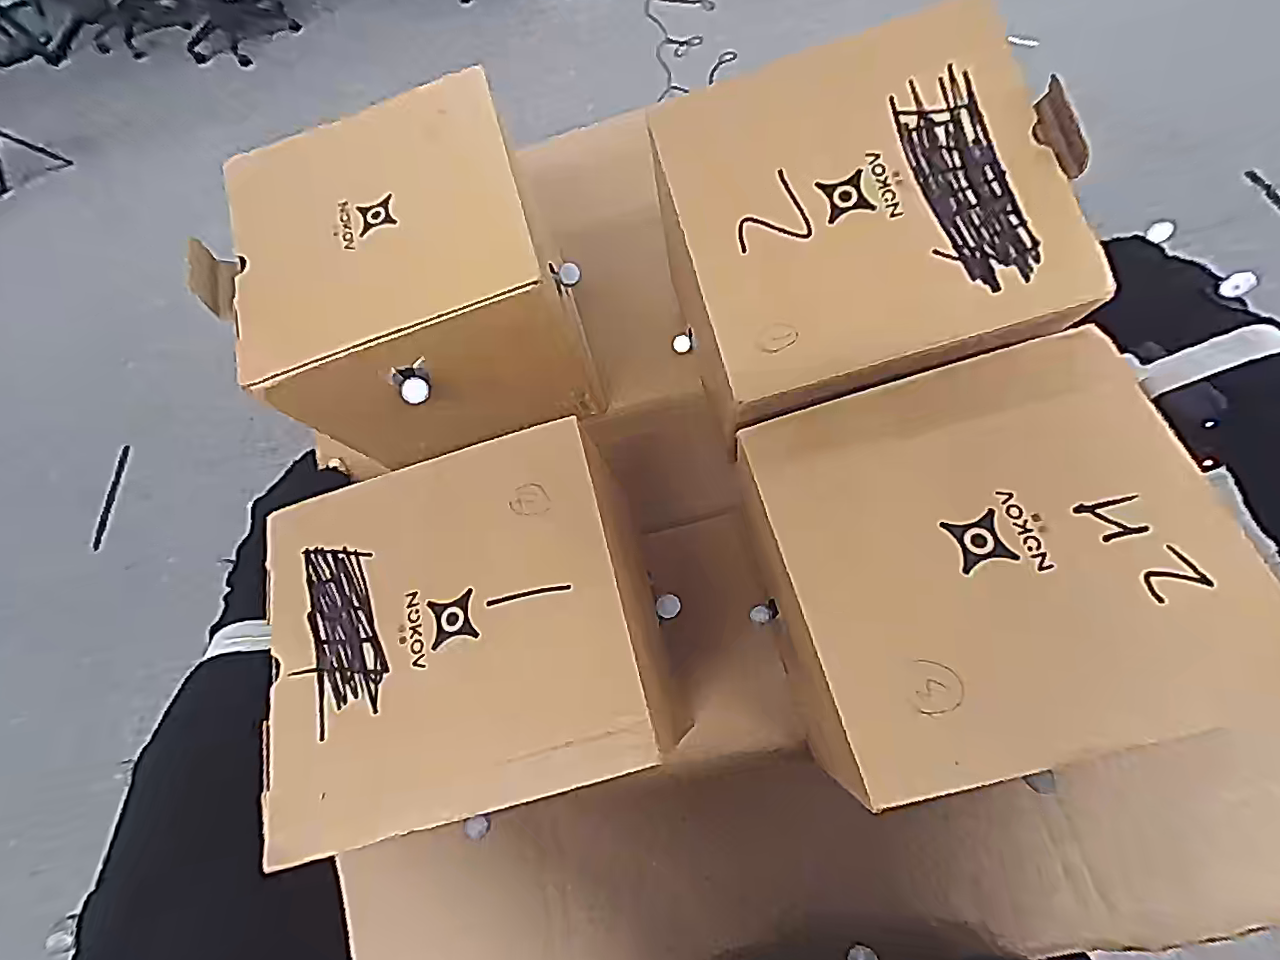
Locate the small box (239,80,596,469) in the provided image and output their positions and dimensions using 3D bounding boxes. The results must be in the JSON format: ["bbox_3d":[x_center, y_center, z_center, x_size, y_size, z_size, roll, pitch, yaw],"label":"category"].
[{"bbox_3d":[-0.141,-0.126,0.392,0.179,0.176,0.168,-19,71,5],"label":"small box"}]
